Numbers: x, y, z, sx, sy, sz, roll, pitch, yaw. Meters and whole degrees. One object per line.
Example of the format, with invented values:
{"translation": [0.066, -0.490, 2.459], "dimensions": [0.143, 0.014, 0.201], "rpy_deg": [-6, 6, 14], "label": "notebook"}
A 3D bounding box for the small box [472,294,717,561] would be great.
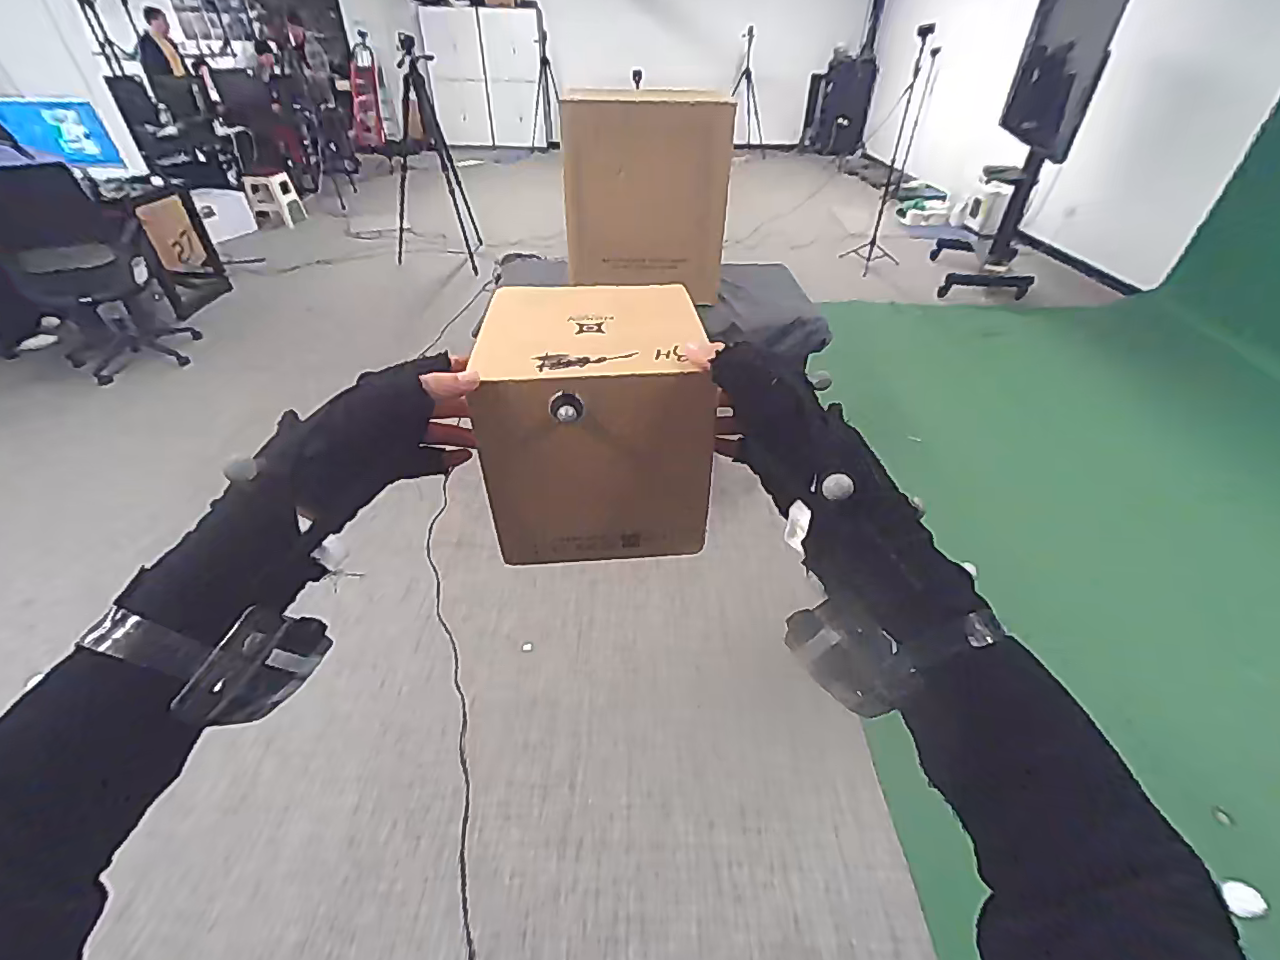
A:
{"translation": [-0.034, -0.051, 0.469], "dimensions": [0.168, 0.176, 0.179], "rpy_deg": [-3, 37, -3], "label": "small box"}
